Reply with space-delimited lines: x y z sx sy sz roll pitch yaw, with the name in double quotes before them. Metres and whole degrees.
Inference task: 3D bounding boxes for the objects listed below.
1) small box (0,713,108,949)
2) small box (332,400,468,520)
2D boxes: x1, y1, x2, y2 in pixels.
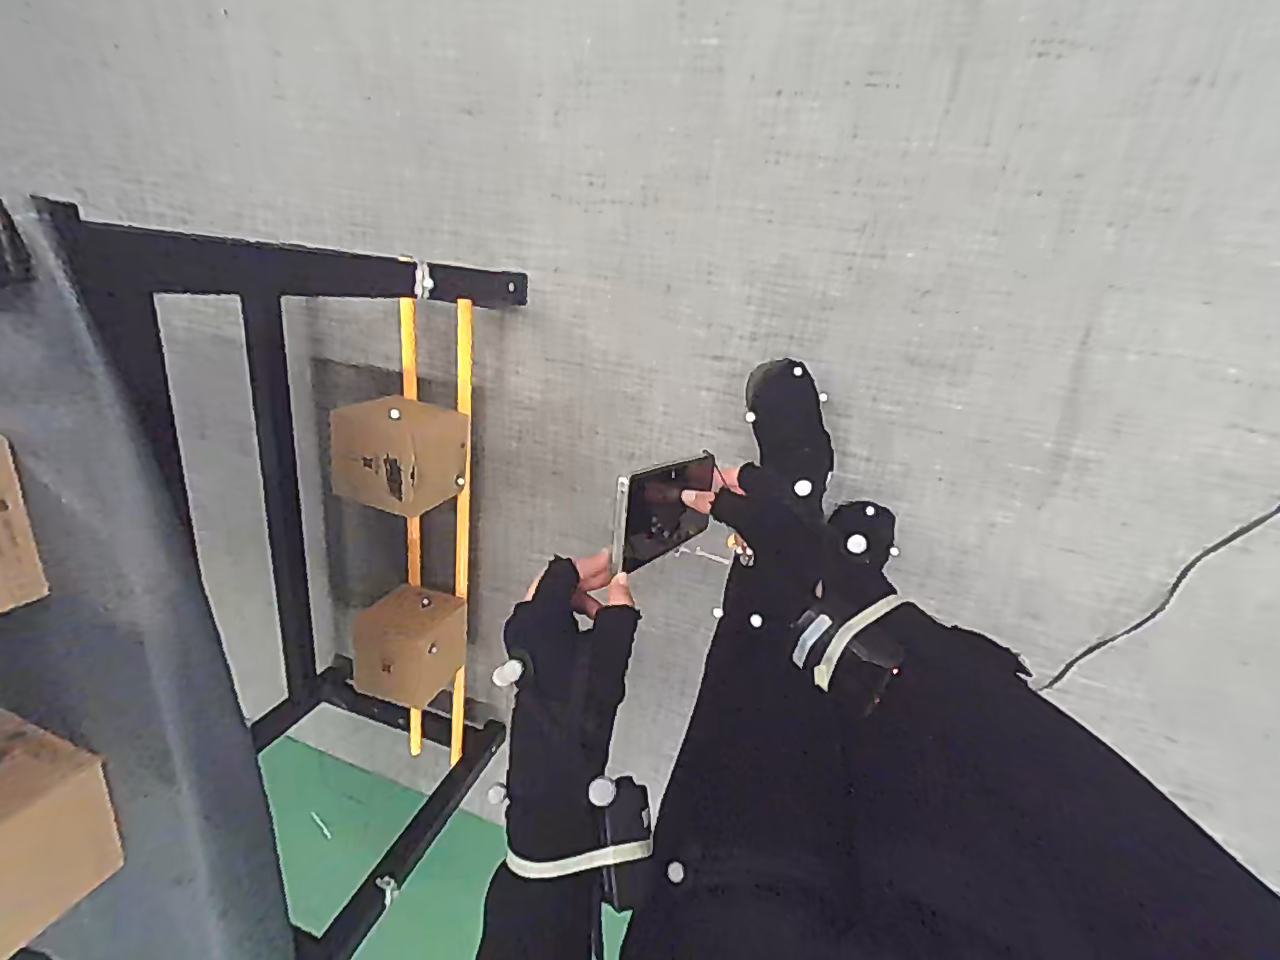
"small box" -0.710 0.386 0.562 0.168 0.176 0.179 15 111 13
"small box" -0.448 -0.047 1.027 0.179 0.176 0.168 16 110 12
